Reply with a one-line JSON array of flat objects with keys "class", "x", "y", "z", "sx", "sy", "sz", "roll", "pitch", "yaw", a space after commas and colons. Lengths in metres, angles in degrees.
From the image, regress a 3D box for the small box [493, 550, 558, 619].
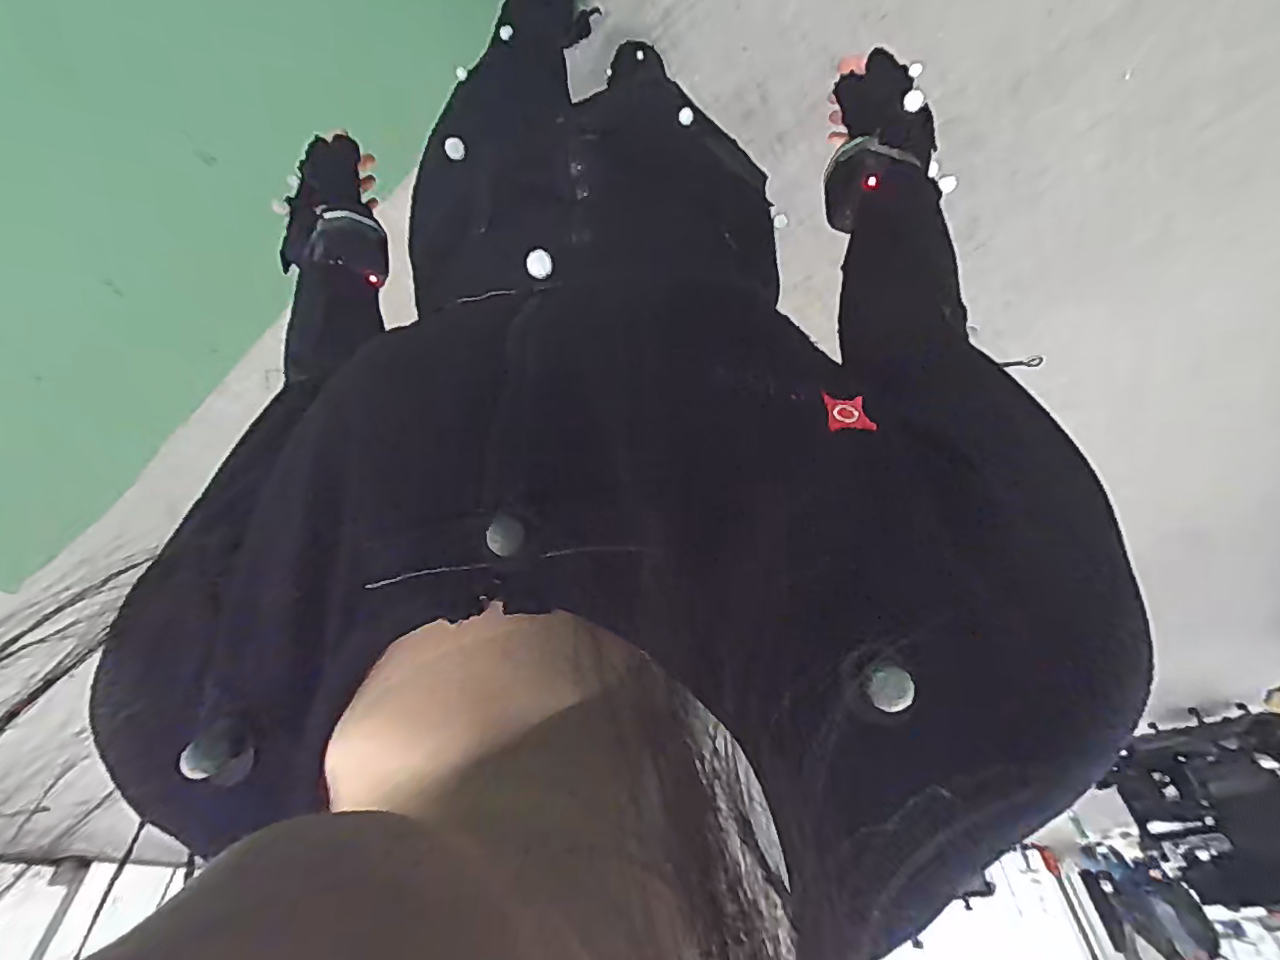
[{"class": "small box", "x": -0.420, "y": 0.391, "z": 2.019, "sx": 0.179, "sy": 0.176, "sz": 0.168, "roll": -29, "pitch": 133, "yaw": 25}]
